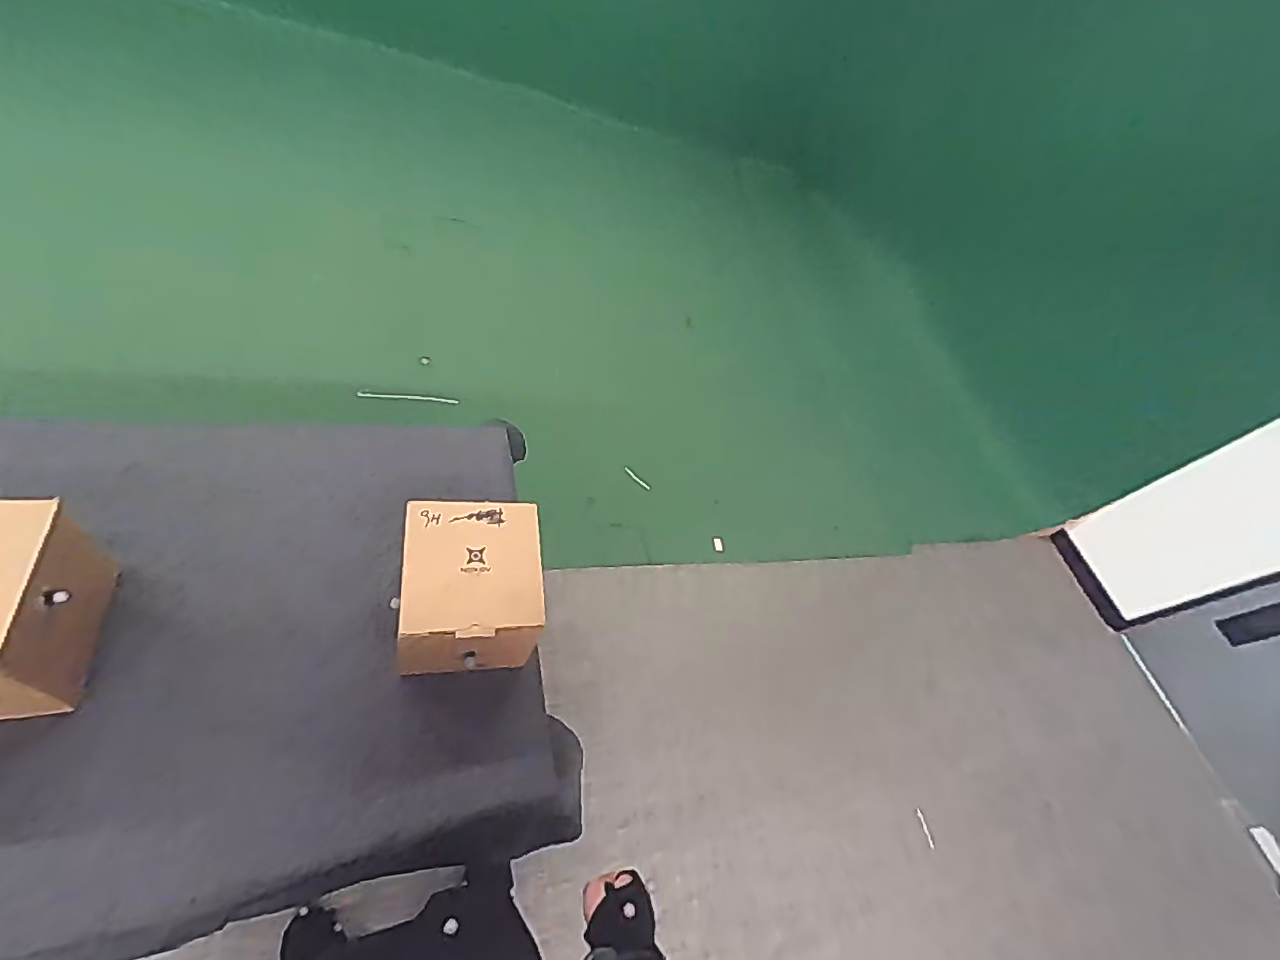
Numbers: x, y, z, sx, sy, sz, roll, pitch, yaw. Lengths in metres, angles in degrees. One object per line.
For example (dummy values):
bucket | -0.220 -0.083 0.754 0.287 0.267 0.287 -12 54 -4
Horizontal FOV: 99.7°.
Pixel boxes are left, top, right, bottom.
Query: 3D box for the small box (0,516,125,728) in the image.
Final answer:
small box | -0.678 0.153 0.553 0.168 0.176 0.179 1 56 -24

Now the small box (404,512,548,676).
small box | -0.225 0.160 0.736 0.168 0.176 0.179 2 57 -21
